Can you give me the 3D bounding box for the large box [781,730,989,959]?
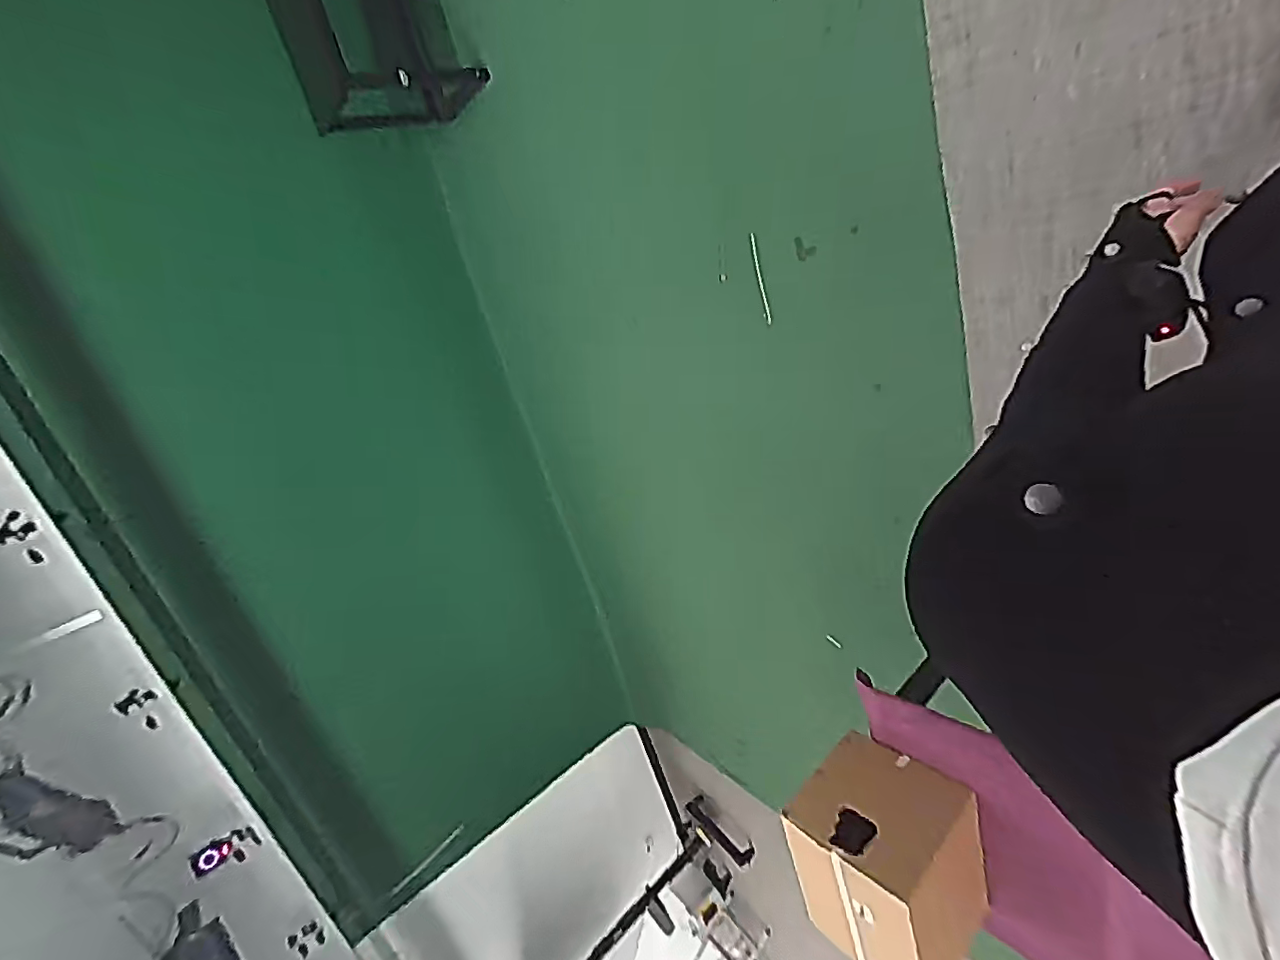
[{"bbox_3d":[0.594,0.911,1.298,0.320,0.320,0.408,7,120,52],"label":"large box"}]
